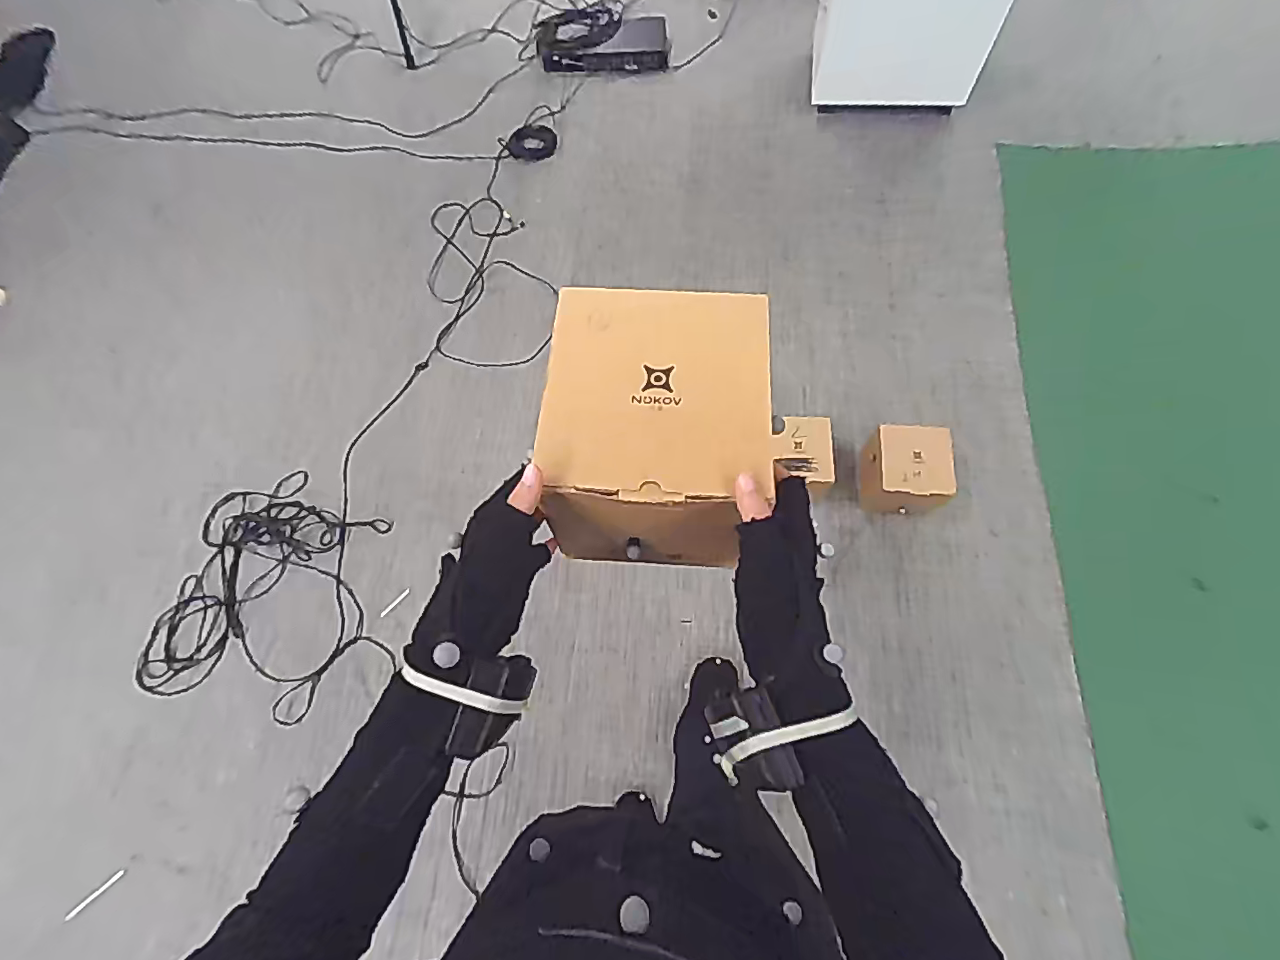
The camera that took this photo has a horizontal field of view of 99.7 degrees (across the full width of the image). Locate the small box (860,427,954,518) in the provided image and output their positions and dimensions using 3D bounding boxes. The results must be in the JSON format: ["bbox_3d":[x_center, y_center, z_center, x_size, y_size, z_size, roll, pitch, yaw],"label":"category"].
[{"bbox_3d":[0.665,-0.015,1.366,0.168,0.176,0.179,4,70,7],"label":"small box"}]
